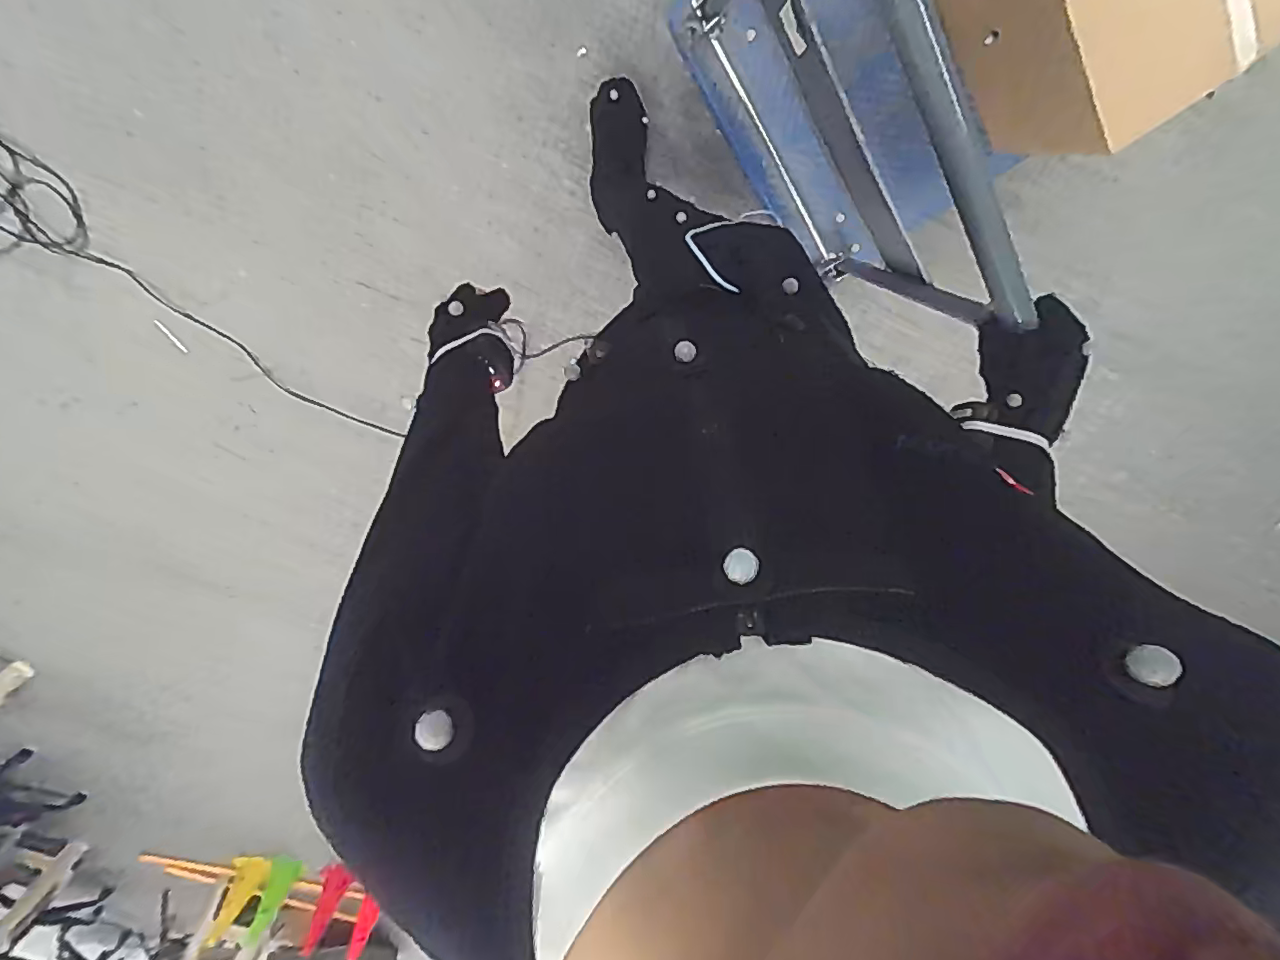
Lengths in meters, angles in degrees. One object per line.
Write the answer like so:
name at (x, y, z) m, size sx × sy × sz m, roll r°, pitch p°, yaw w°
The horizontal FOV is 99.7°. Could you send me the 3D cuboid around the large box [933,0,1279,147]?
large box at (0.650, -0.755, 0.757) m, size 0.320 × 0.320 × 0.408 m, roll -34°, pitch 114°, yaw 19°
